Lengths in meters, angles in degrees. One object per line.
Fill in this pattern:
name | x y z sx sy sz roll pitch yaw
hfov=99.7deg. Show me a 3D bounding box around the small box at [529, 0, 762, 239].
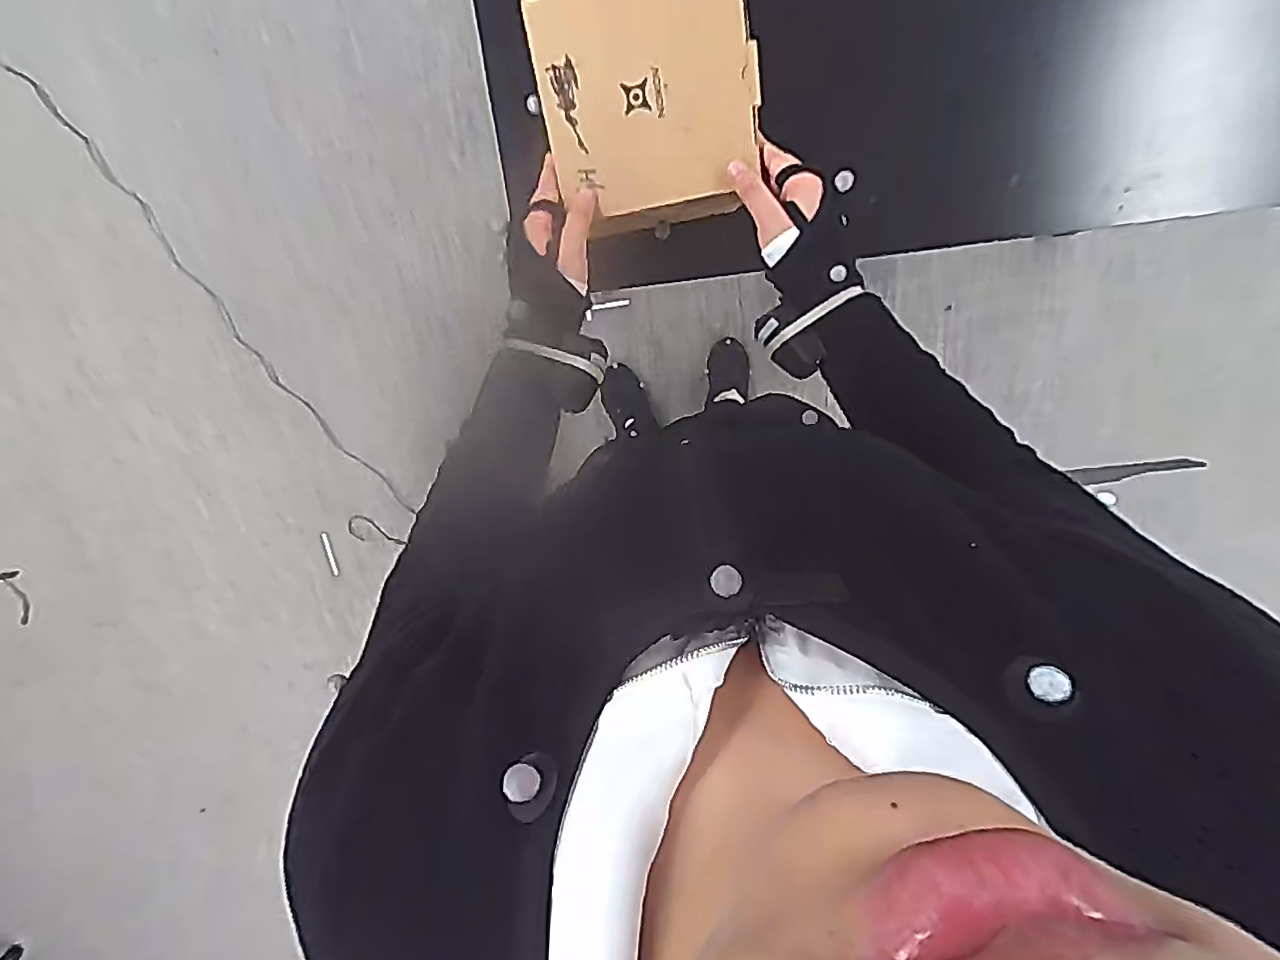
small box | 0.008 -0.341 0.523 0.179 0.176 0.168 -10 109 3
